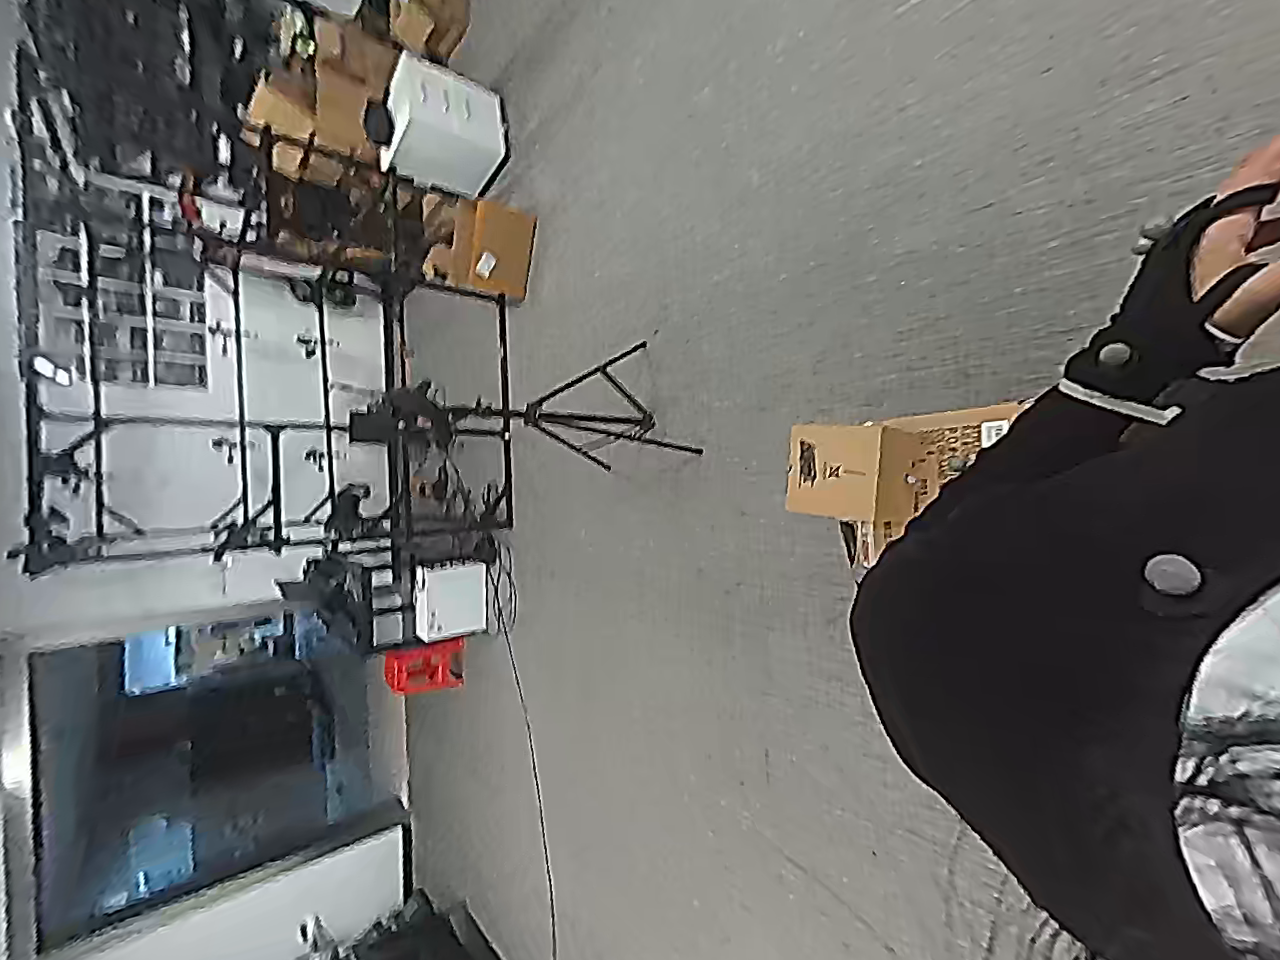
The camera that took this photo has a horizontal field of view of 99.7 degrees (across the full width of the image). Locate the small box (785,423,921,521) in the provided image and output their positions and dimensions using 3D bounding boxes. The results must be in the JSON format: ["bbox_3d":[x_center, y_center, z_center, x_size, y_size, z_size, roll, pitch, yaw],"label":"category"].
[{"bbox_3d":[0.399,-0.016,1.017,0.179,0.176,0.168,7,94,47],"label":"small box"}]
